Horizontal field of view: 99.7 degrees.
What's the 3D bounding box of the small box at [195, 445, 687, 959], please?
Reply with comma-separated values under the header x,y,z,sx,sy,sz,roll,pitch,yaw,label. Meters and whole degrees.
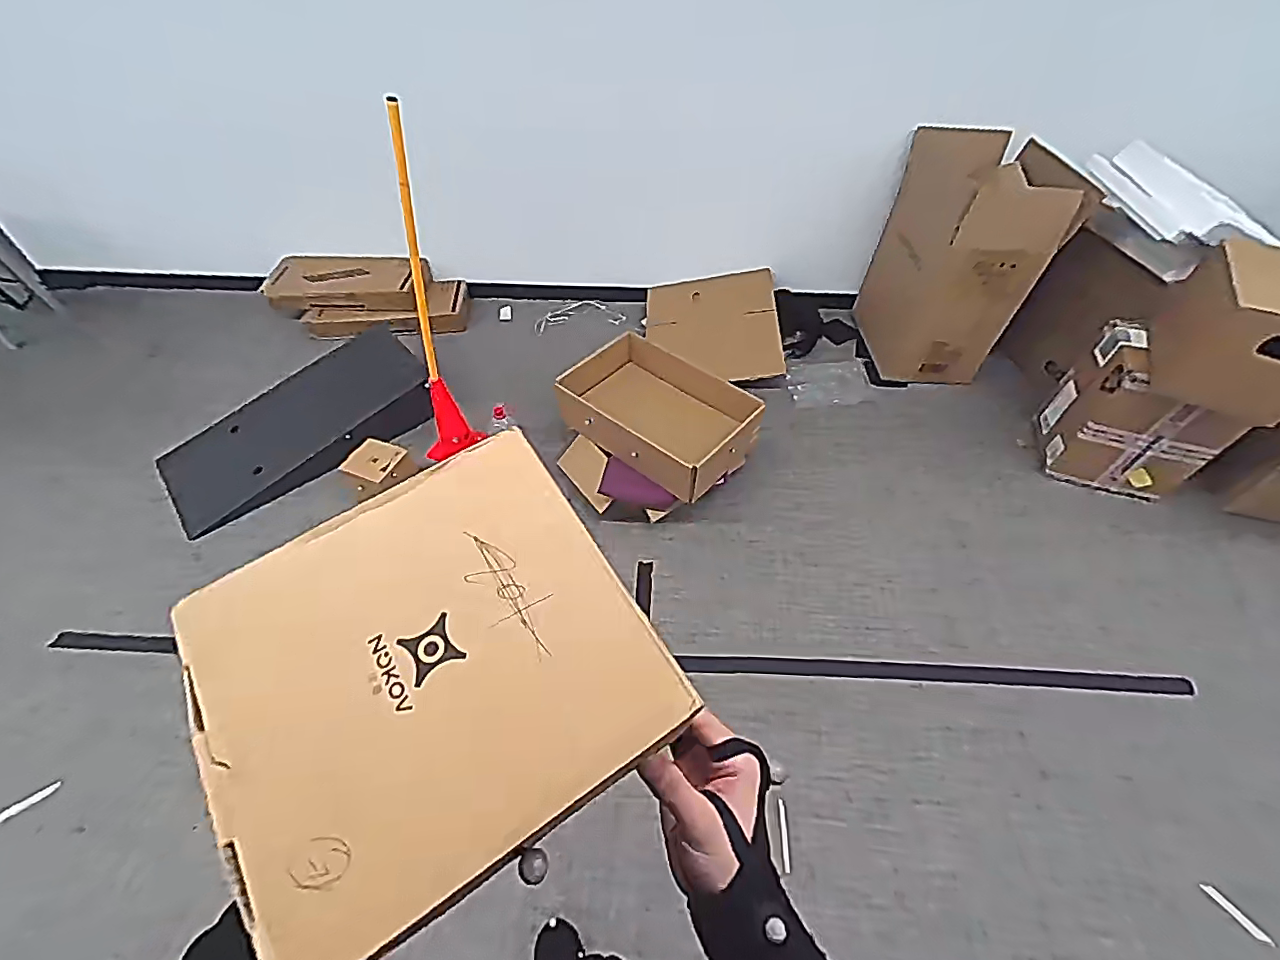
x,y,z,sx,sy,sz,roll,pitch,yaw,label
-0.091,0.119,0.312,0.179,0.176,0.168,-32,67,-15,small box
